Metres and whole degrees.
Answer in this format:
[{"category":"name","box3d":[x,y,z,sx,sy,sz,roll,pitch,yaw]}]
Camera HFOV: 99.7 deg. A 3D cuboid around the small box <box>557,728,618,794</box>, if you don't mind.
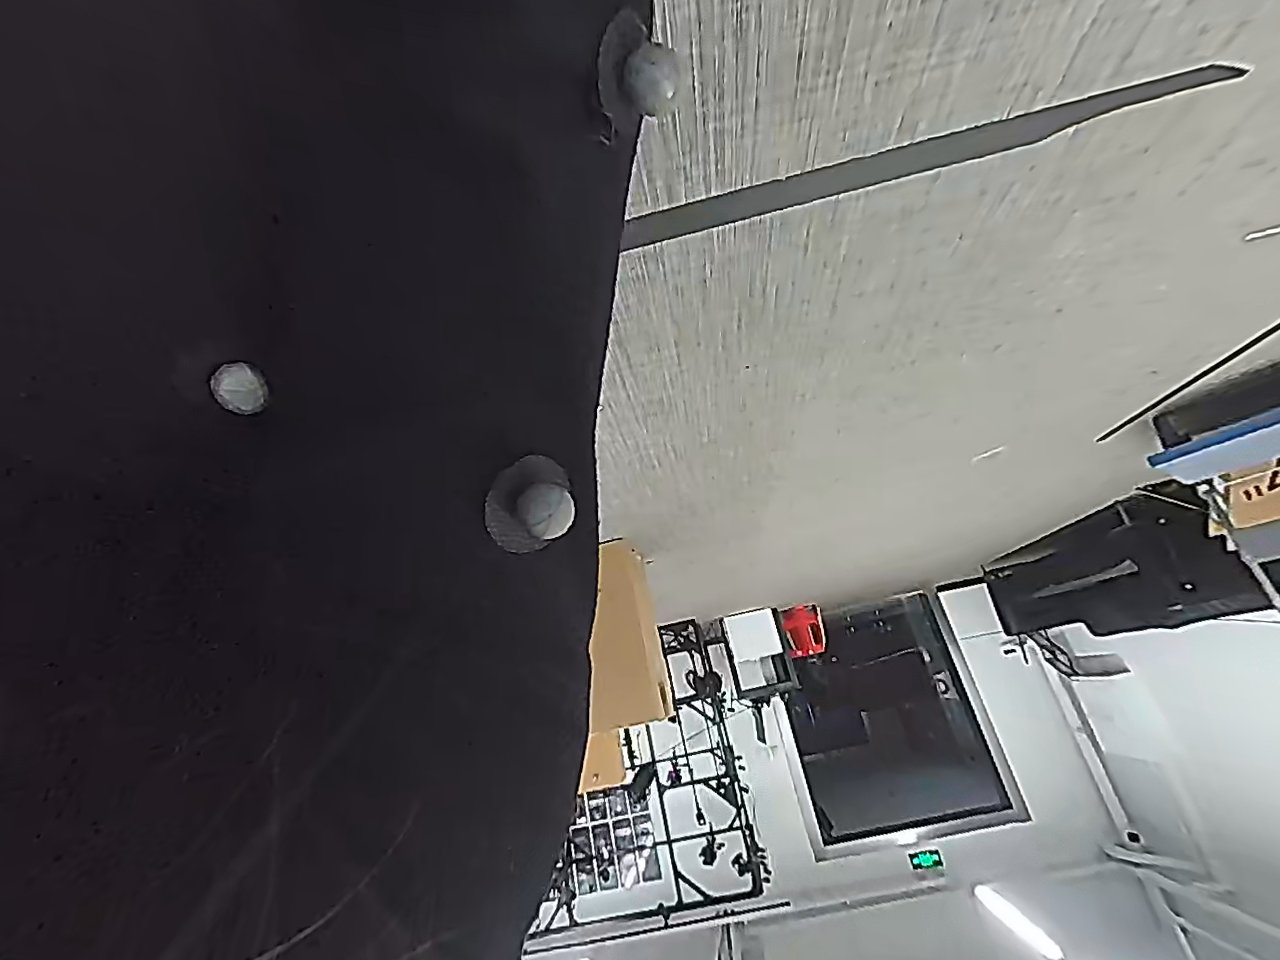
[{"category":"small box","box3d":[-0.183,0.968,1.874,0.179,0.176,0.168,-14,158,1]}]
